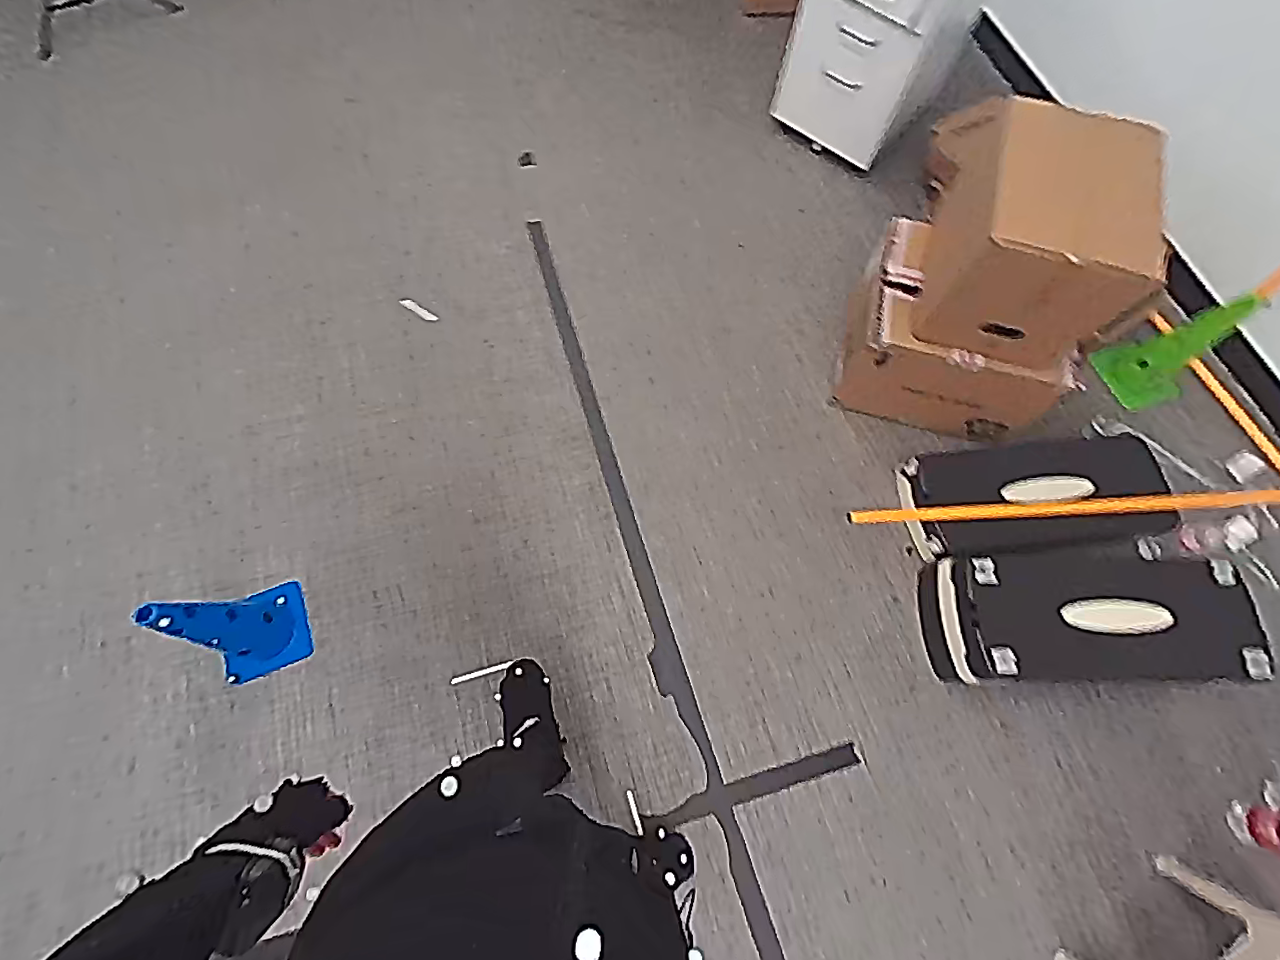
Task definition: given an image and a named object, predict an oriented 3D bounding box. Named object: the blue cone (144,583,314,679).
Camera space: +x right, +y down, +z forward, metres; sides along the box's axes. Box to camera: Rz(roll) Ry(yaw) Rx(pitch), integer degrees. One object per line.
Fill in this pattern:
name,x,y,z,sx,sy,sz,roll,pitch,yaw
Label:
blue cone,-0.899,0.304,1.163,0.193,0.380,0.192,-19,72,-9
